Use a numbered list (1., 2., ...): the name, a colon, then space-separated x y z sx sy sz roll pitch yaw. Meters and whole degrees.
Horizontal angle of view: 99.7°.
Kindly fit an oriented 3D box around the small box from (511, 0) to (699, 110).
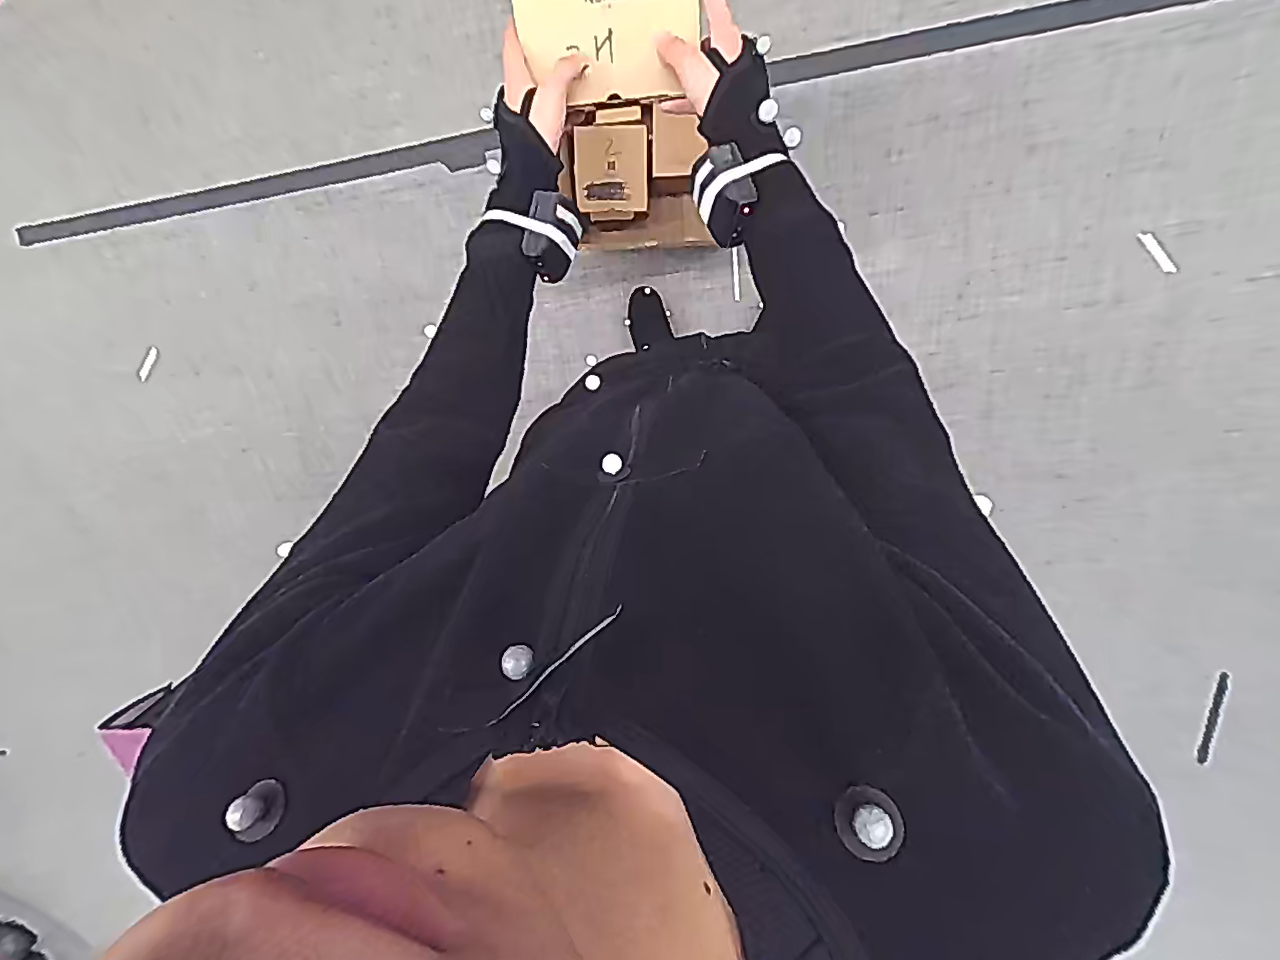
1. small box: -0.027 -0.474 0.527 0.168 0.176 0.179 -1 124 8
